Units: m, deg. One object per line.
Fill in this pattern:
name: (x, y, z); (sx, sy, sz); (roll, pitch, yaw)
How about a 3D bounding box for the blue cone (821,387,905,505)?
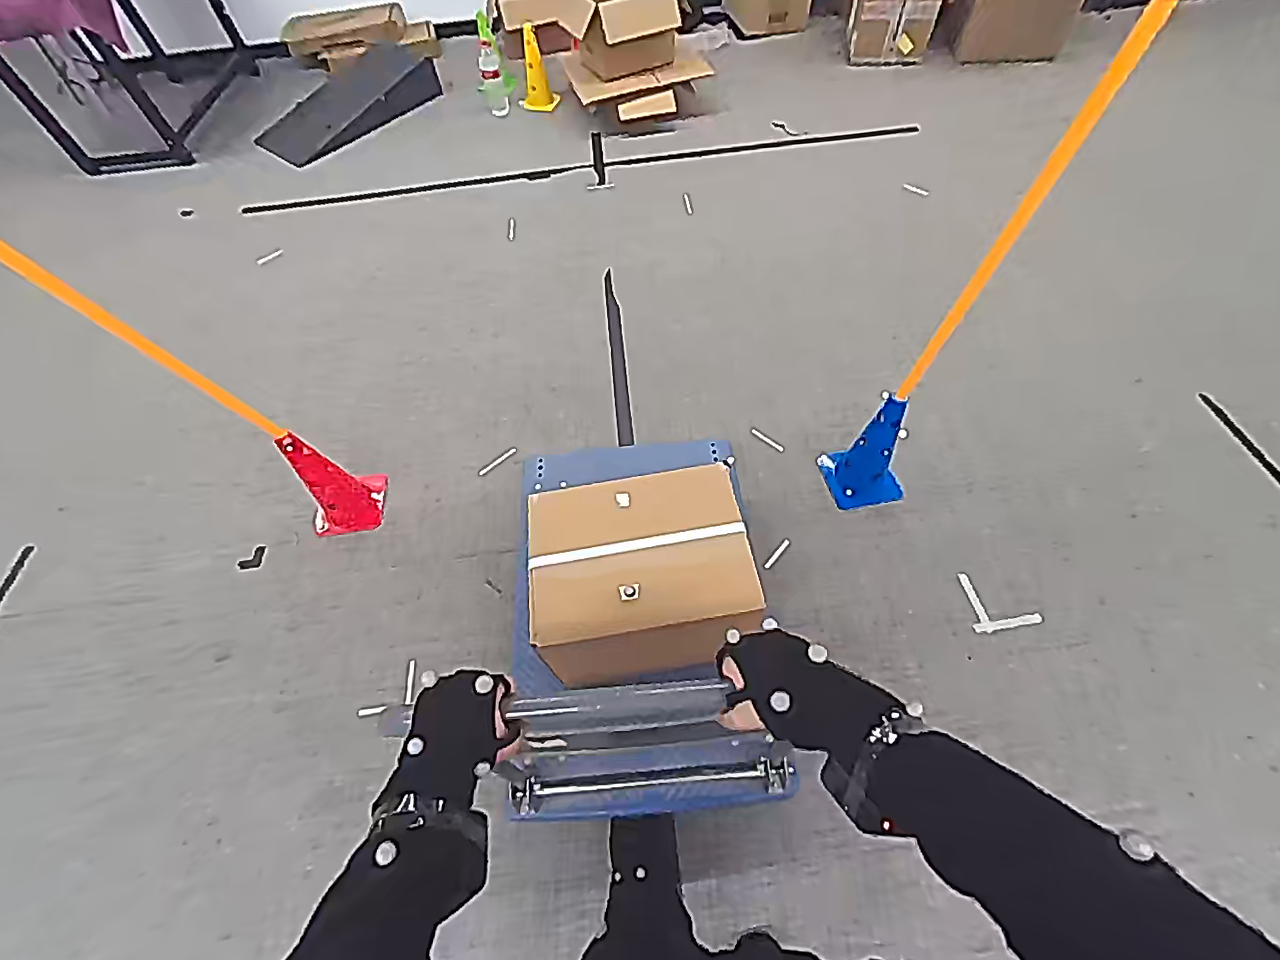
blue cone: (0.647, -0.104, 1.477); (0.193, 0.380, 0.192); (-10, 56, -3)
